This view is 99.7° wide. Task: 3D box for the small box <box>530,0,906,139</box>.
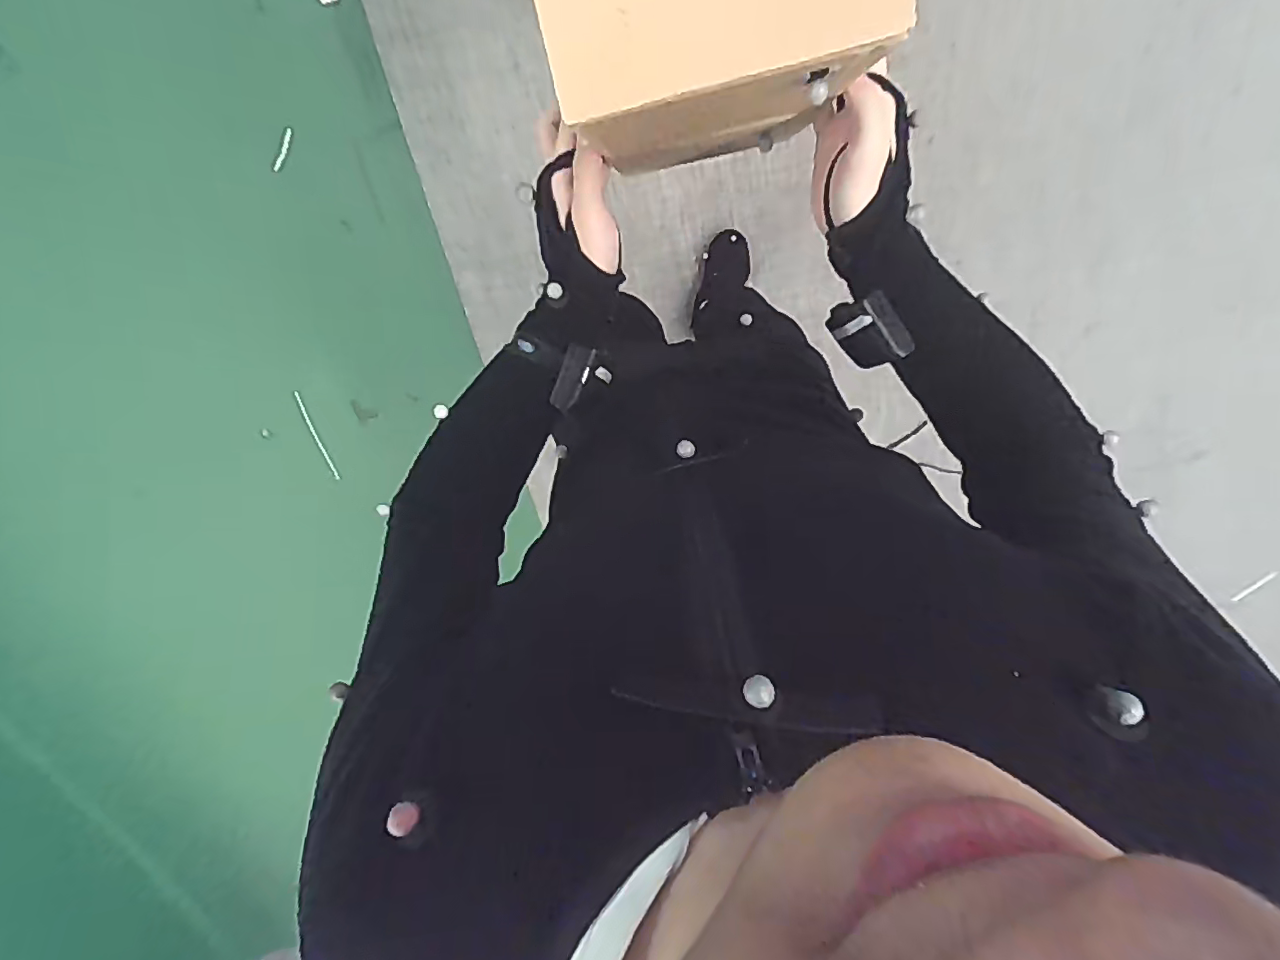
[{"bbox_3d":[0.031,-0.307,0.294,0.179,0.176,0.168,-10,114,8],"label":"small box"}]
